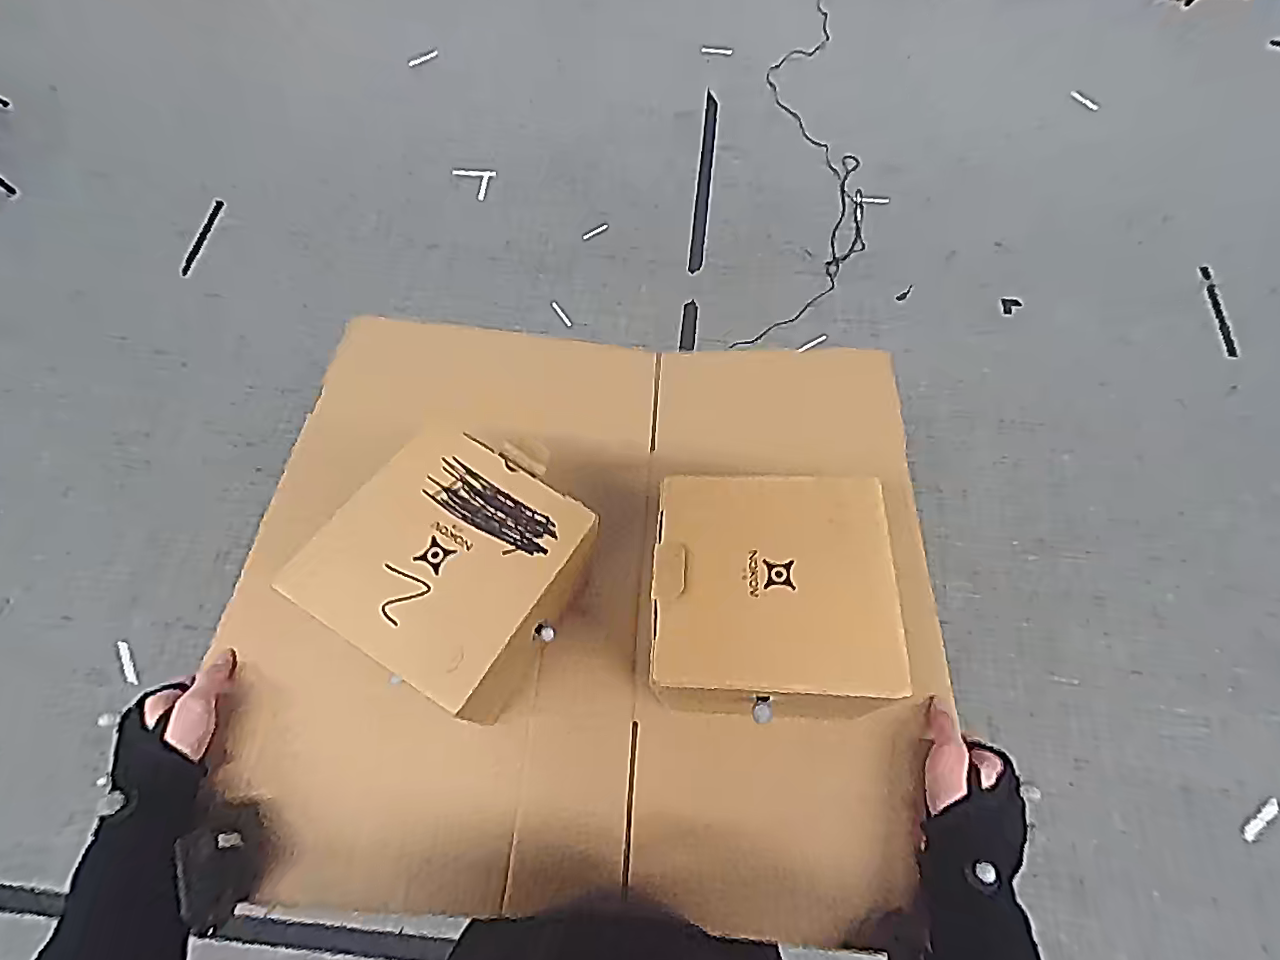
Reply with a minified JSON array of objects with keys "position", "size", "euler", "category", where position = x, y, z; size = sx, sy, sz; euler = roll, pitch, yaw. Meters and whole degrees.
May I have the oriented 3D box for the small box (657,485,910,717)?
[{"position":[0.112,0.114,0.482],"size":[0.179,0.176,0.168],"euler":[0,63,8],"category":"small box"}]
